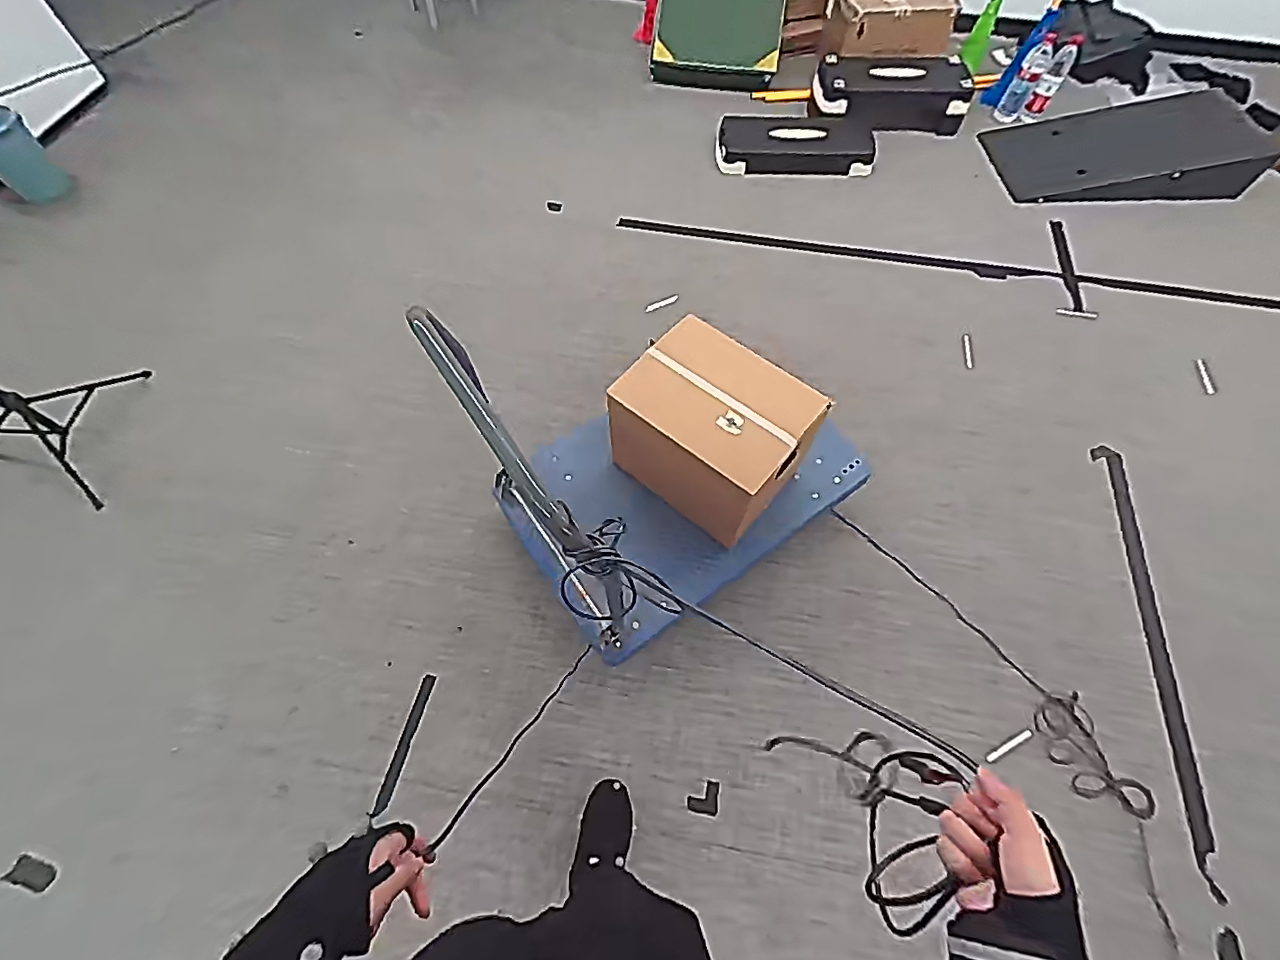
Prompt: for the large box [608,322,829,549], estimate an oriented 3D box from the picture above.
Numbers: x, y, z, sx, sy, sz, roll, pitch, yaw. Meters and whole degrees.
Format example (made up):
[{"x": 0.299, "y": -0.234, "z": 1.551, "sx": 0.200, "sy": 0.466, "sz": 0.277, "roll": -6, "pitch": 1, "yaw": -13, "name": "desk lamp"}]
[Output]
[{"x": 0.170, "y": -0.105, "z": 1.331, "sx": 0.408, "sy": 0.320, "sz": 0.320, "roll": 37, "pitch": 68, "yaw": 17, "name": "large box"}]
